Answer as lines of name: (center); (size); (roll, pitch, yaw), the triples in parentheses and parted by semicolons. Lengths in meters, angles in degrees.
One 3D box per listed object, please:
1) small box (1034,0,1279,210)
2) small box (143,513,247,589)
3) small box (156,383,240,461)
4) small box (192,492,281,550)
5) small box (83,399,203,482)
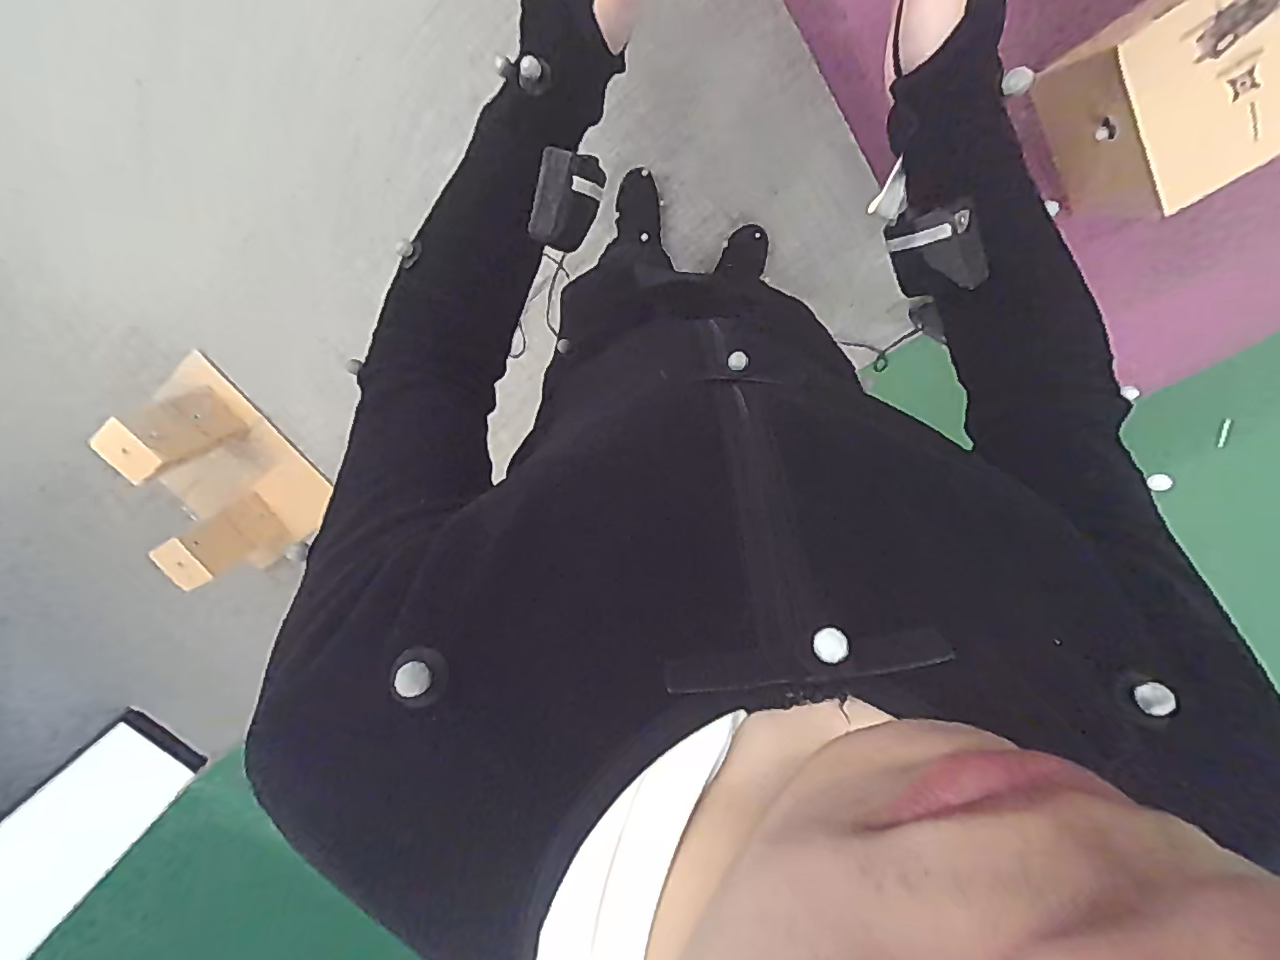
small box: (0.560, -0.409, 0.566); (0.168, 0.176, 0.179); (-29, 109, 21)
small box: (-1.502, 0.234, 1.835); (0.168, 0.176, 0.179); (-22, 111, 19)
small box: (-1.503, -0.199, 1.807); (0.168, 0.176, 0.179); (-30, 109, 21)
small box: (-1.483, 0.165, 1.985); (0.168, 0.176, 0.179); (-22, 111, 19)
small box: (-1.519, -0.130, 1.662); (0.168, 0.176, 0.179); (-31, 110, 21)
